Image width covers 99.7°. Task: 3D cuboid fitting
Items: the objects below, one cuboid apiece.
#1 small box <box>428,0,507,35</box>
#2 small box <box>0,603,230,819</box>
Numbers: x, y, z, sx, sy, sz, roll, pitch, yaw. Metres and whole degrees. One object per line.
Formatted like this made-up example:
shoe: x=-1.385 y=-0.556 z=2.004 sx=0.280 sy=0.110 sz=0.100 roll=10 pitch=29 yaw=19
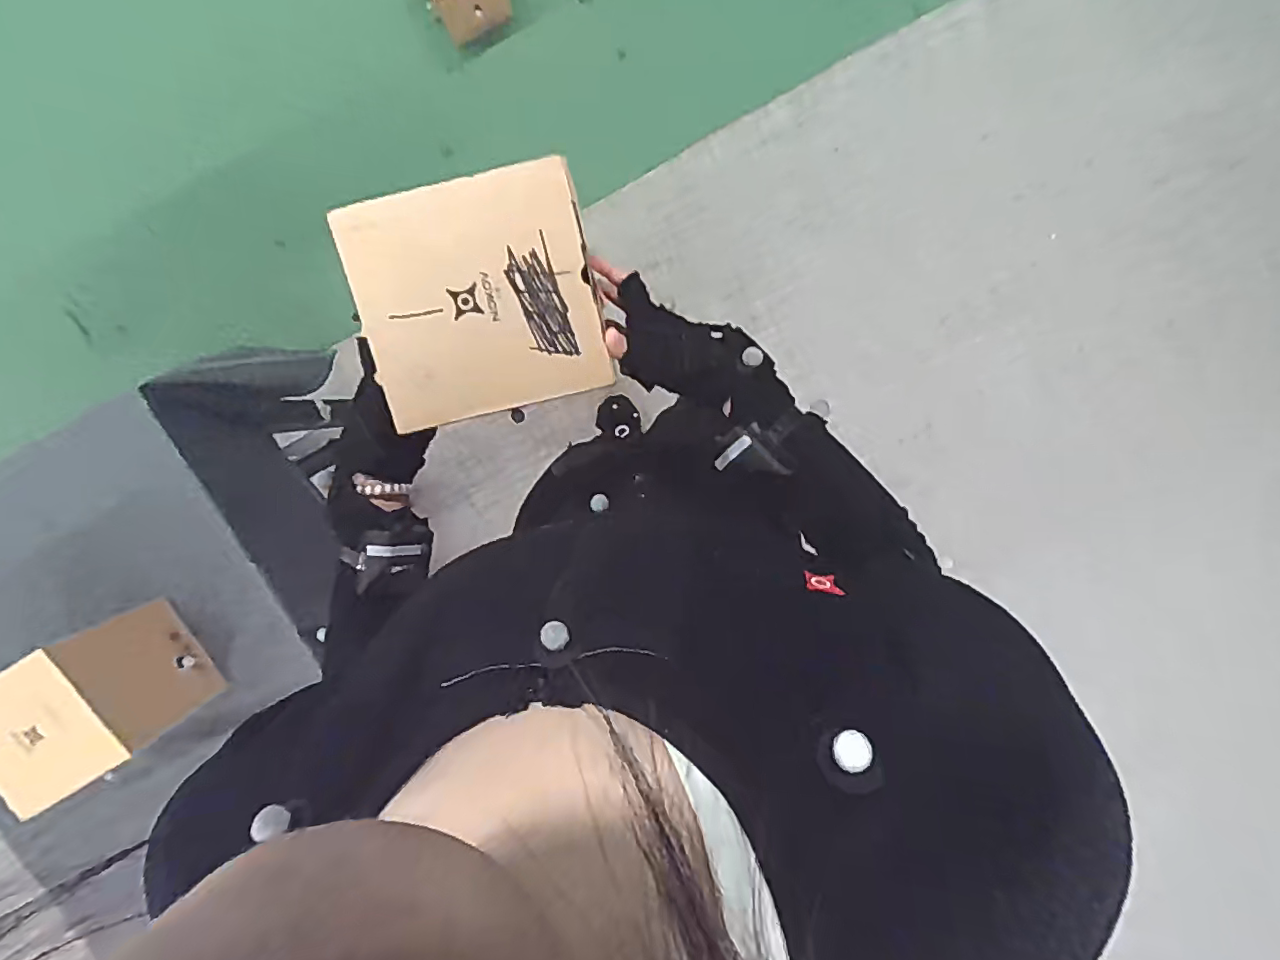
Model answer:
small box: x=-0.426 y=-1.164 z=1.221 sx=0.168 sy=0.176 sz=0.179 roll=-28 pitch=99 yaw=5
small box: x=-0.722 y=0.299 z=0.731 sx=0.179 sy=0.176 sz=0.168 roll=-30 pitch=99 yaw=5
